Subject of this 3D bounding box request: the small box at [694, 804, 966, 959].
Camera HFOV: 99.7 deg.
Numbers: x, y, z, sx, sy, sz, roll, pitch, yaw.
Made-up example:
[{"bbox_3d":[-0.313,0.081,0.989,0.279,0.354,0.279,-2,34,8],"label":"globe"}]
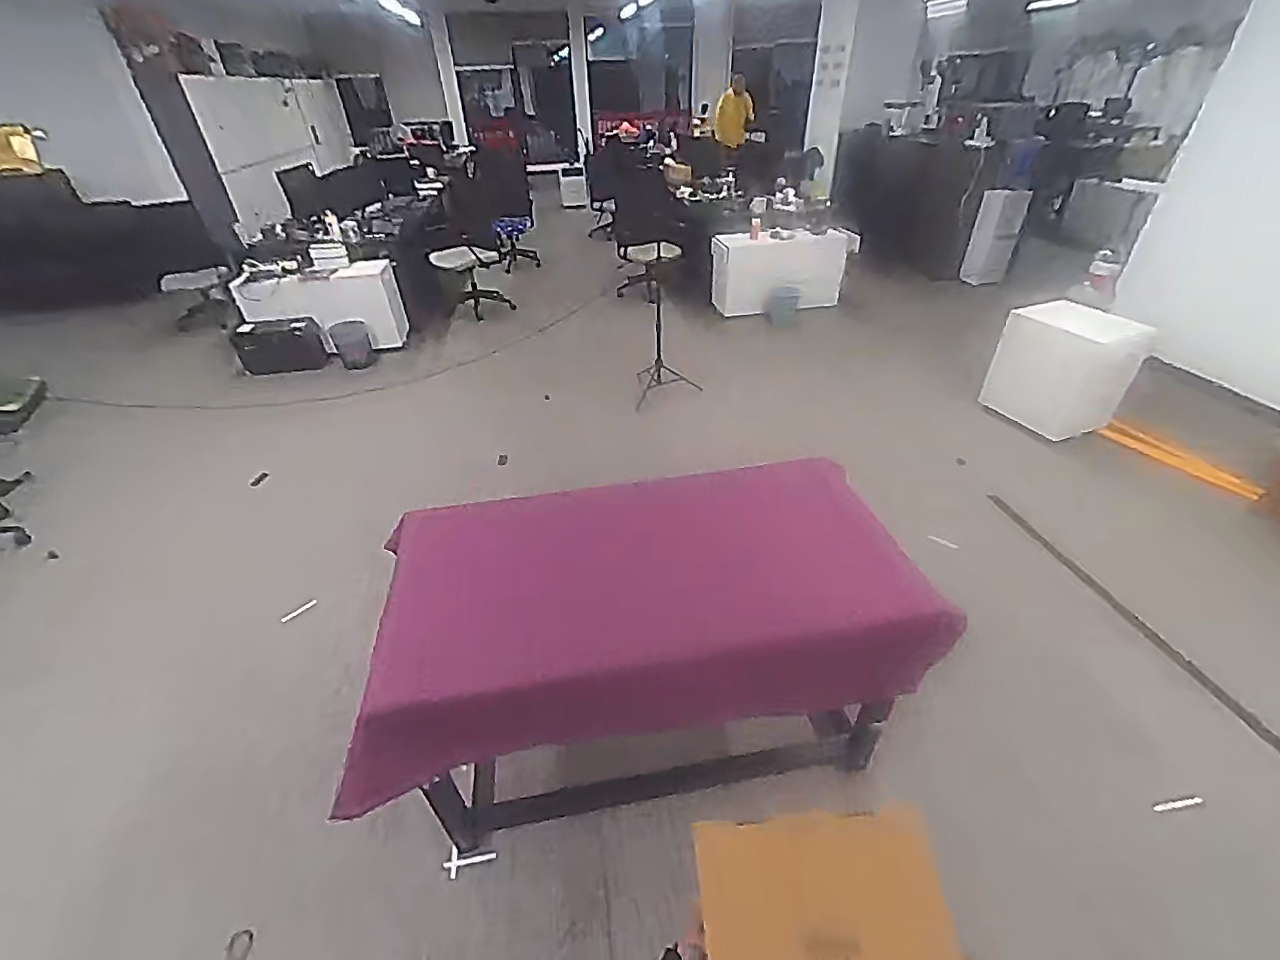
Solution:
[{"bbox_3d":[0.136,0.360,0.409,0.168,0.176,0.179,-7,52,3],"label":"small box"}]
